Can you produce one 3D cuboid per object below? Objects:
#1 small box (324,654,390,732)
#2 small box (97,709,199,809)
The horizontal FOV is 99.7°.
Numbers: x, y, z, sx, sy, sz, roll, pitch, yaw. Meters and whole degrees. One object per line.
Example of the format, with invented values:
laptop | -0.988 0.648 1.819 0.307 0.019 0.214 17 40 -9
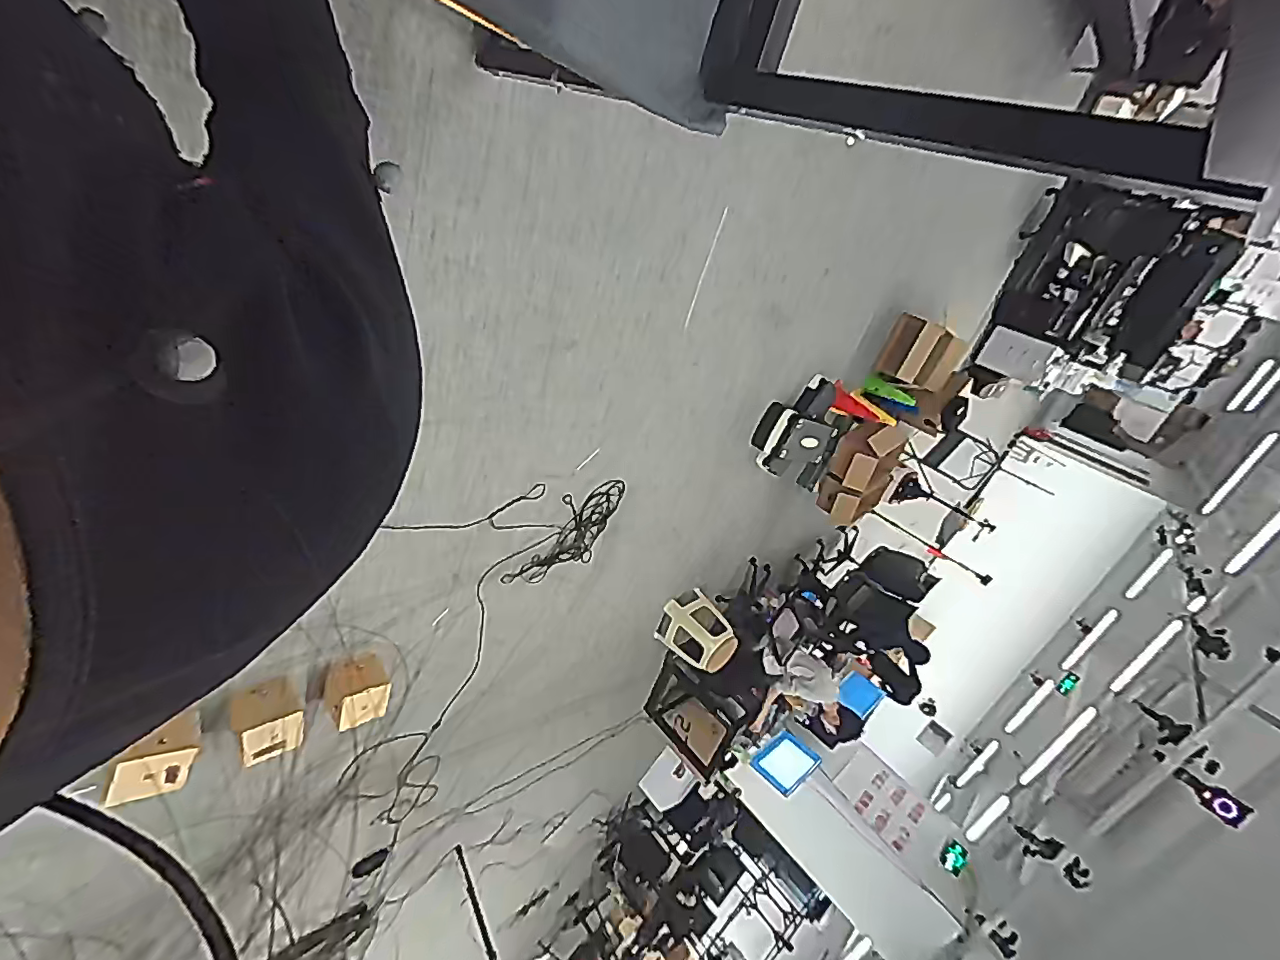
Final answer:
small box | -1.045 0.777 1.986 0.168 0.176 0.179 -8 126 -47
small box | -1.413 0.788 1.550 0.179 0.176 0.168 12 110 -53
